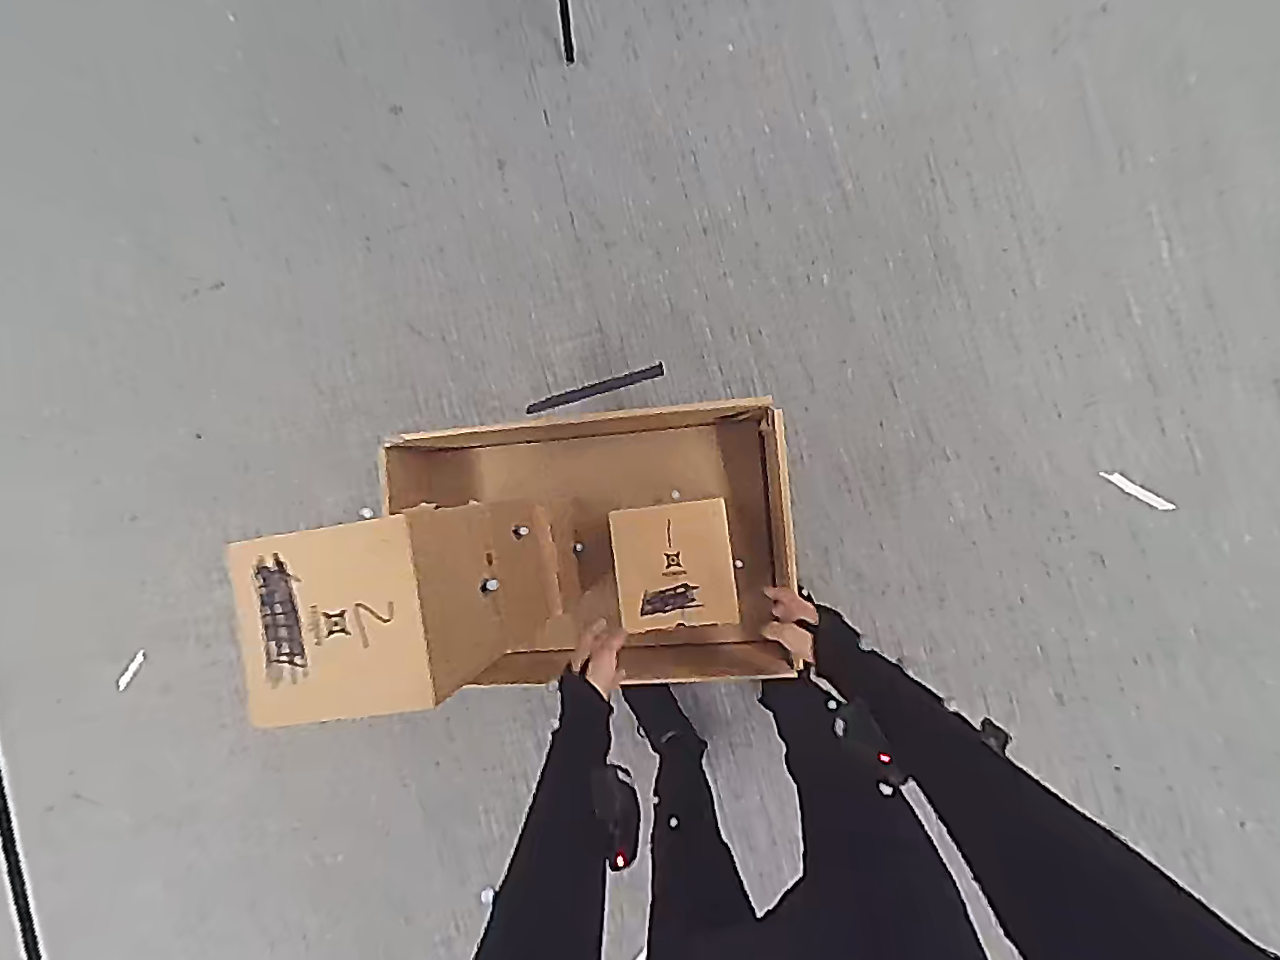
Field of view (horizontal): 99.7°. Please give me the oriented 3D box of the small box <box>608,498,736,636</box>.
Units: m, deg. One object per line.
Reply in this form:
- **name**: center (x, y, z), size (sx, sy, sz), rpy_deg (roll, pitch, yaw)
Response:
- **small box**: center (0.056, 0.125, 0.829), size (0.168, 0.176, 0.179), rpy_deg (-8, 88, 7)

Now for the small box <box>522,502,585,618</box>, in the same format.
- **small box**: center (-0.198, 0.127, 0.862), size (0.179, 0.176, 0.168), rpy_deg (-8, 89, 6)

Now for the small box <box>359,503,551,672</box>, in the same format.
- **small box**: center (-0.227, 0.127, 0.701), size (0.168, 0.176, 0.179), rpy_deg (-10, 88, 8)
